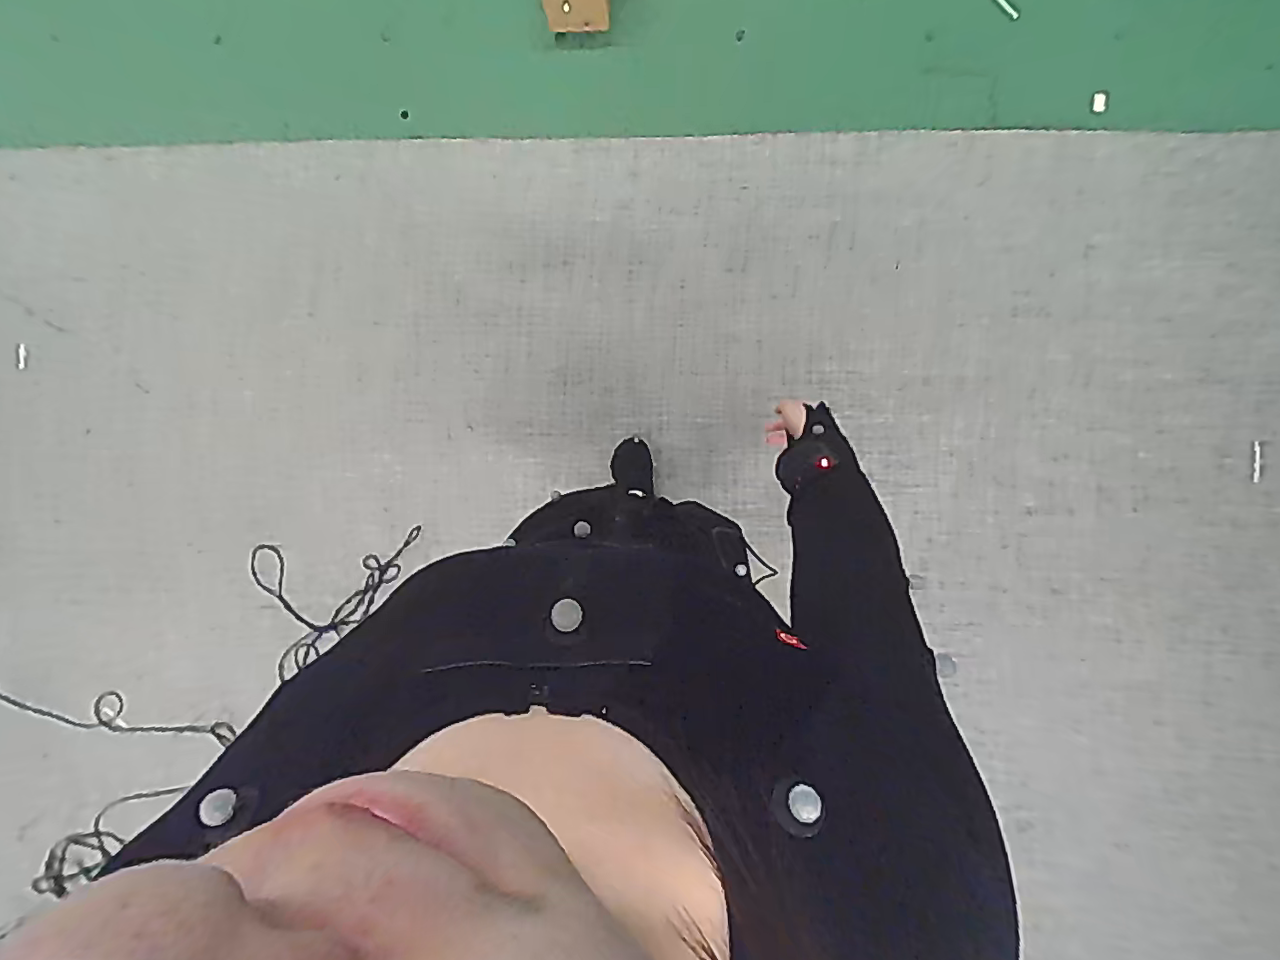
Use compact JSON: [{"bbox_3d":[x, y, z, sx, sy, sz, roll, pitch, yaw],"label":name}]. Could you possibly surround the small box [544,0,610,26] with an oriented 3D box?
[{"bbox_3d":[-0.168,-1.322,1.401,0.168,0.176,0.179,0,90,3],"label":"small box"}]
